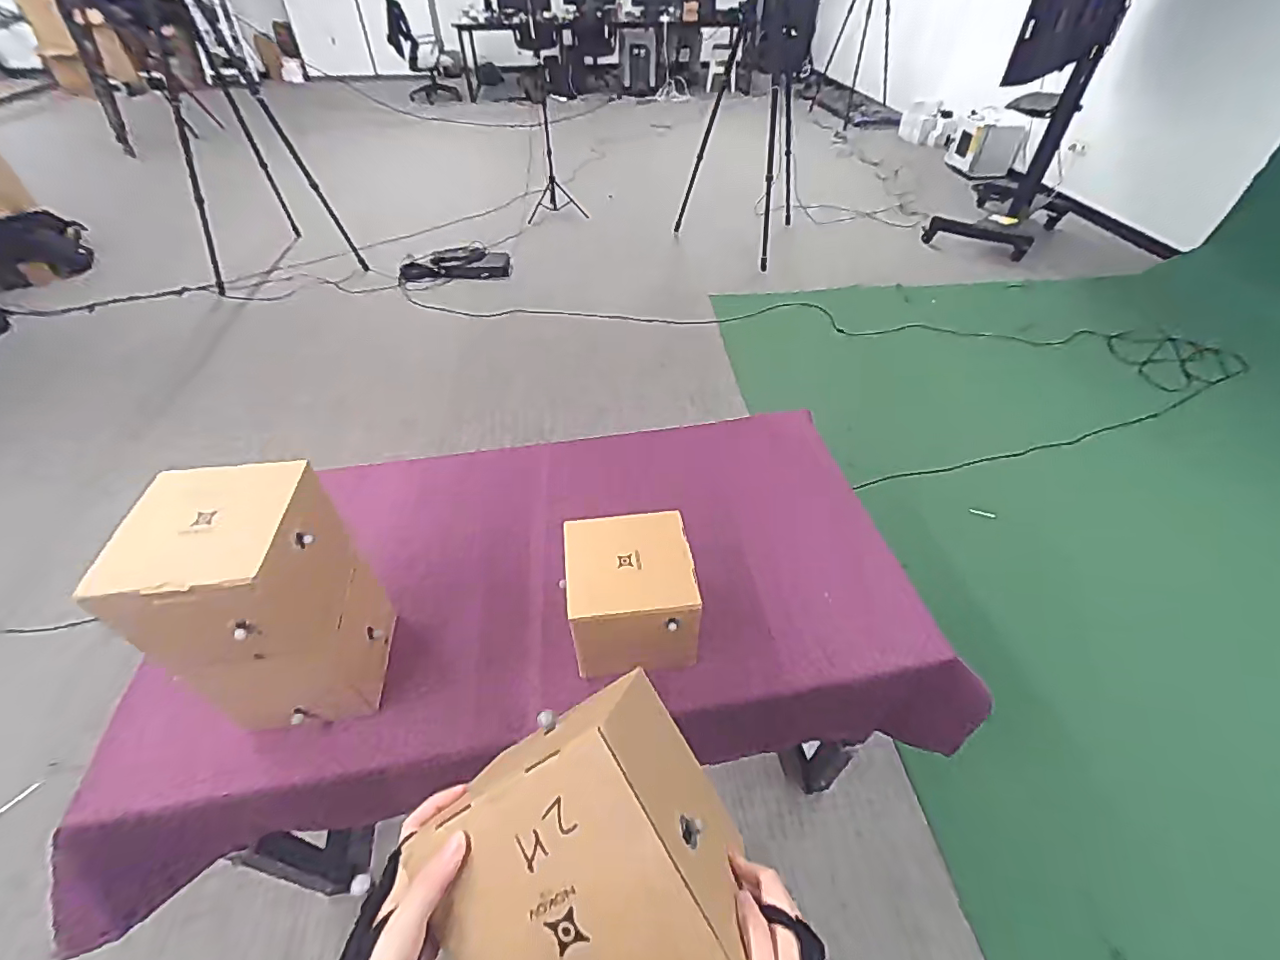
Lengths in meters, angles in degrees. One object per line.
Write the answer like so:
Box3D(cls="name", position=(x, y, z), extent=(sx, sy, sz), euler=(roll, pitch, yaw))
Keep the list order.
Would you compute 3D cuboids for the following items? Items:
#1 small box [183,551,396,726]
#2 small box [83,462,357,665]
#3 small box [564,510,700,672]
Box3D(cls="small box", position=(-0.461, 0.221, 0.751), extent=(0.179, 0.176, 0.168), euler=(-6, 46, -6))
Box3D(cls="small box", position=(-0.462, 0.102, 0.637), extent=(0.168, 0.176, 0.179), euler=(-5, 45, -4))
Box3D(cls="small box", position=(-0.015, 0.166, 0.800), extent=(0.179, 0.176, 0.168), euler=(-5, 45, -5))
